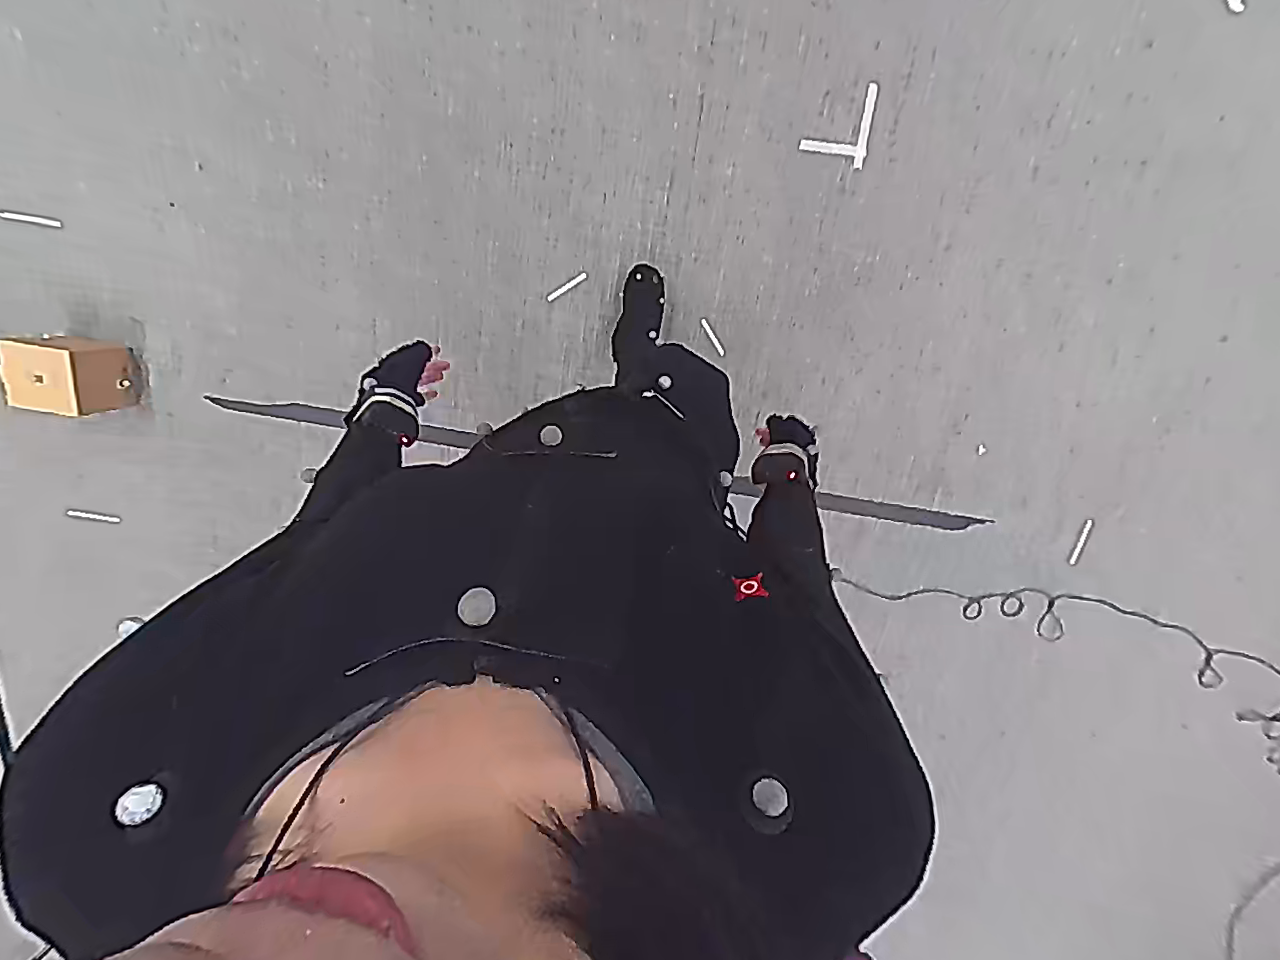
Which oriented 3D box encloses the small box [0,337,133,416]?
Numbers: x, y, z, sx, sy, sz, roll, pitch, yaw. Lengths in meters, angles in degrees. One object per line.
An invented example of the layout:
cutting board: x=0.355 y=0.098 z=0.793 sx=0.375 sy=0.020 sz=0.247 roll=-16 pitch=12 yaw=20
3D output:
small box: x=-1.461 y=-0.269 z=1.378 sx=0.179 sy=0.176 sz=0.168 roll=8 pitch=108 yaw=-3
